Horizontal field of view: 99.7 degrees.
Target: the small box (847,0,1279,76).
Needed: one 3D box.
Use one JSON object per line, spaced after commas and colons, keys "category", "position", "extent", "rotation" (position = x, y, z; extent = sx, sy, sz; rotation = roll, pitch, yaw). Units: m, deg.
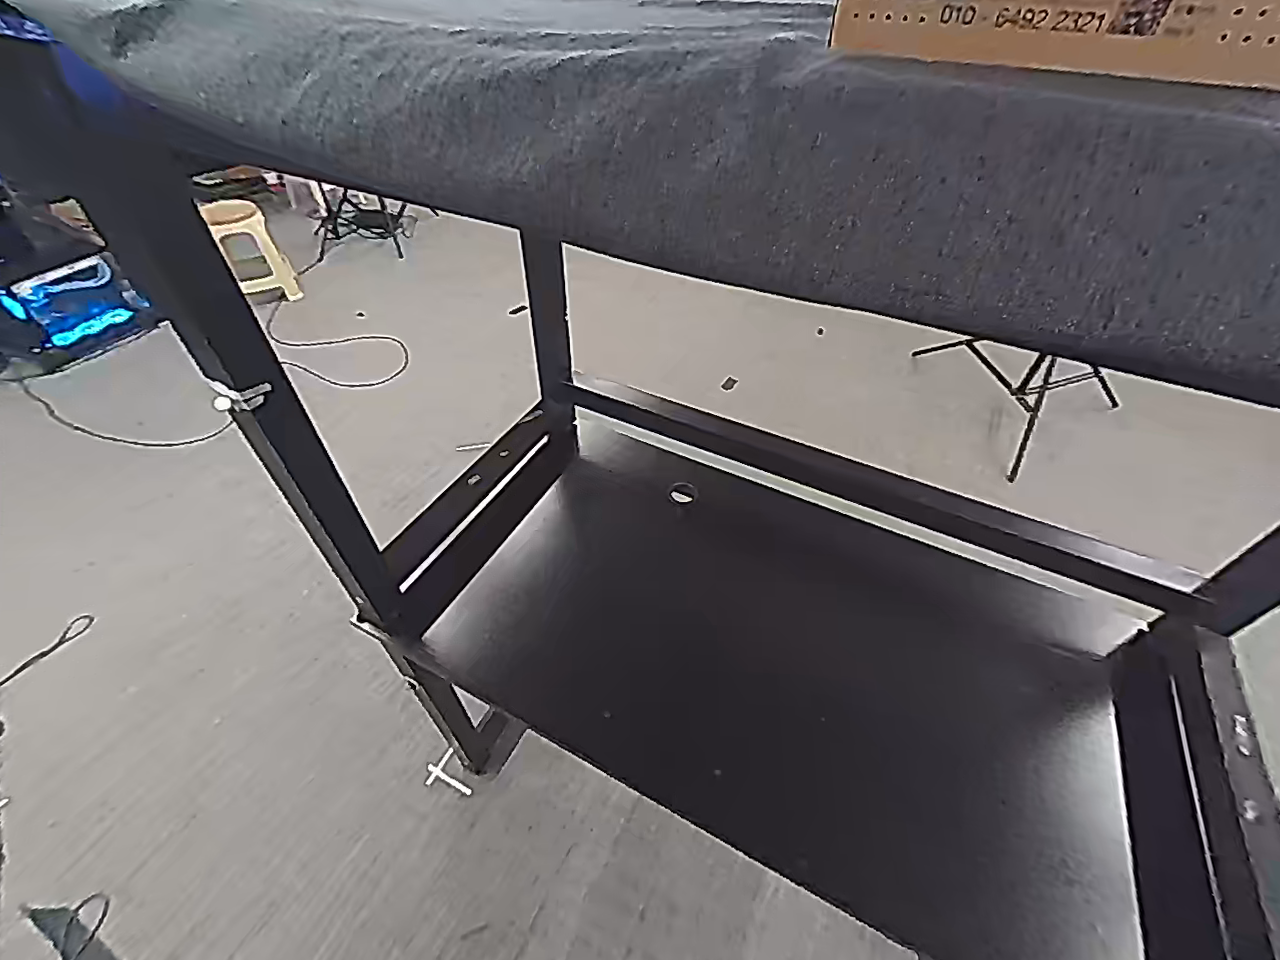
{"category": "small box", "position": [0.192, -0.268, 0.203], "extent": [0.168, 0.176, 0.179], "rotation": [20, 46, 17]}
